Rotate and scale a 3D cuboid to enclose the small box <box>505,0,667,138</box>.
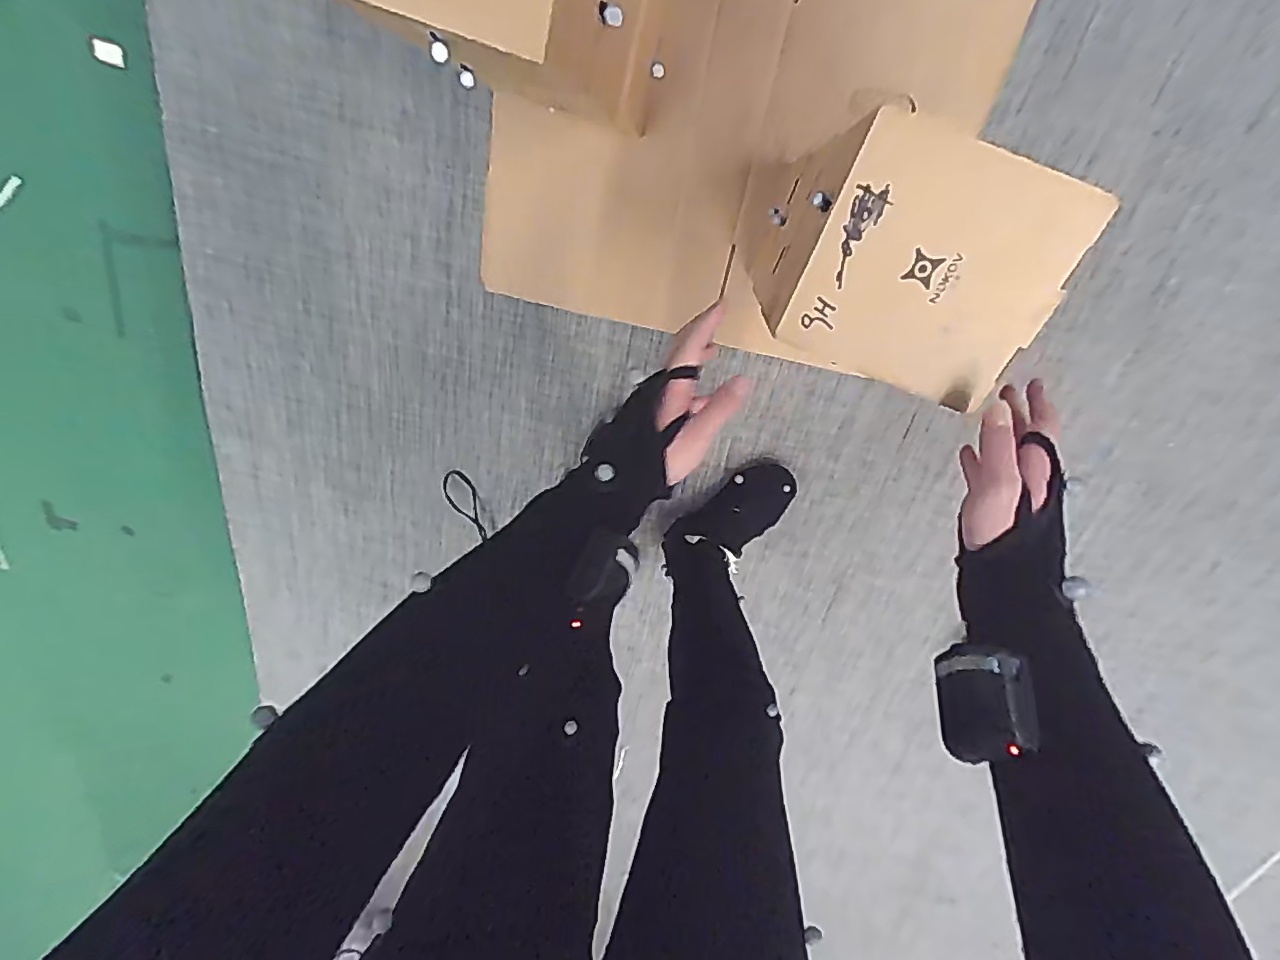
[{"bbox_3d":[-0.074,-0.563,0.695,0.179,0.176,0.168,17,117,-1],"label":"small box"}]

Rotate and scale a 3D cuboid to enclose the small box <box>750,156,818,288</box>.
[{"bbox_3d":[0.266,-0.330,0.756,0.179,0.176,0.168,18,116,1],"label":"small box"}]

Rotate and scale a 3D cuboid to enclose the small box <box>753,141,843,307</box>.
[{"bbox_3d":[0.242,-0.253,0.612,0.179,0.176,0.168,22,116,-1],"label":"small box"}]

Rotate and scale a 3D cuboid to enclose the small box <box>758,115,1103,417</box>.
[{"bbox_3d":[0.218,-0.181,0.467,0.179,0.176,0.168,21,116,-2],"label":"small box"}]
